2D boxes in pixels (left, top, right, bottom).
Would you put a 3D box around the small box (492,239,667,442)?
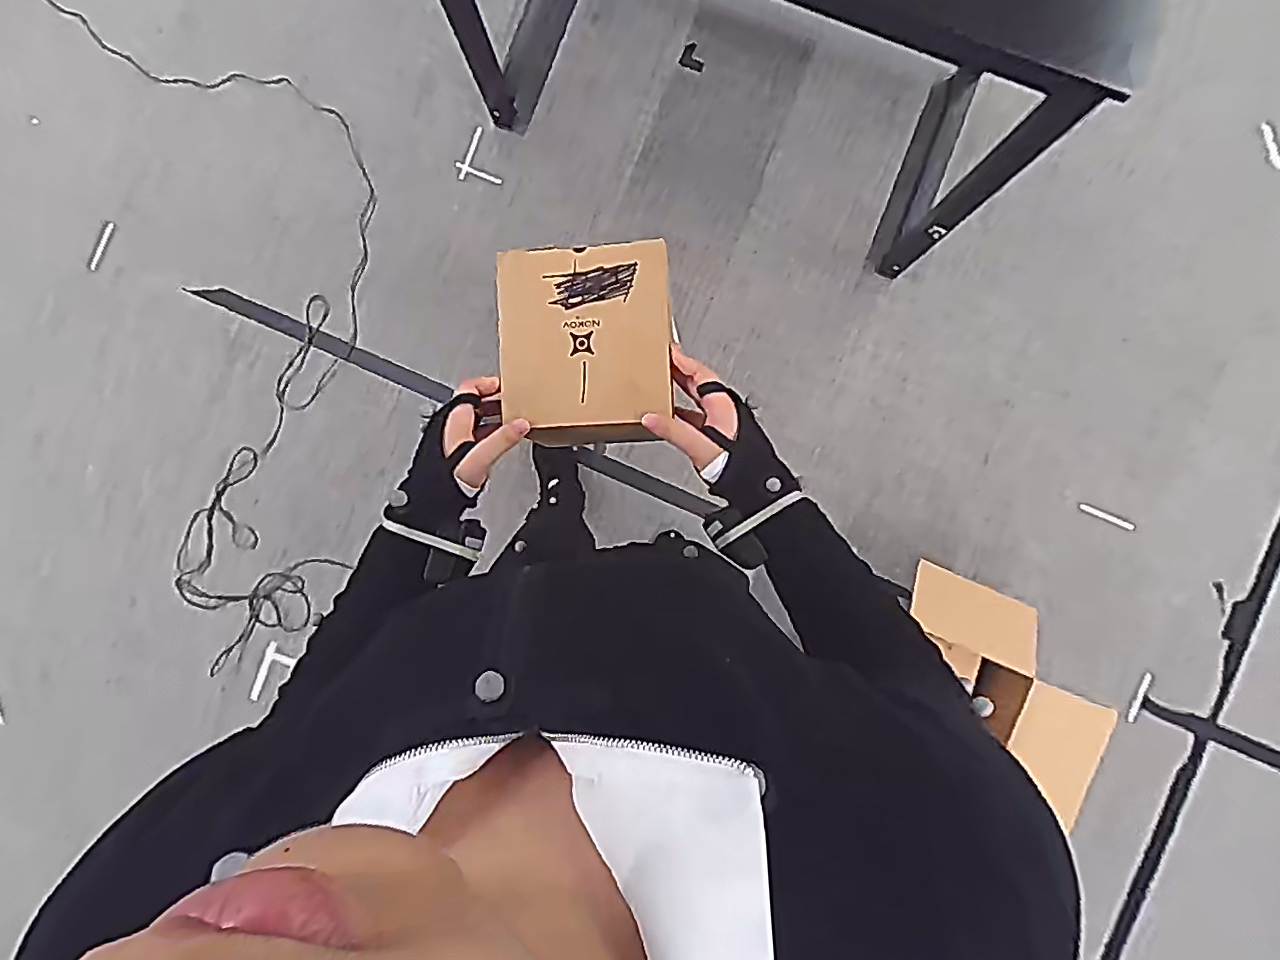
[{"bbox_3d":[-0.056,-0.140,0.601,0.168,0.176,0.179,-3,89,5],"label":"small box"}]
